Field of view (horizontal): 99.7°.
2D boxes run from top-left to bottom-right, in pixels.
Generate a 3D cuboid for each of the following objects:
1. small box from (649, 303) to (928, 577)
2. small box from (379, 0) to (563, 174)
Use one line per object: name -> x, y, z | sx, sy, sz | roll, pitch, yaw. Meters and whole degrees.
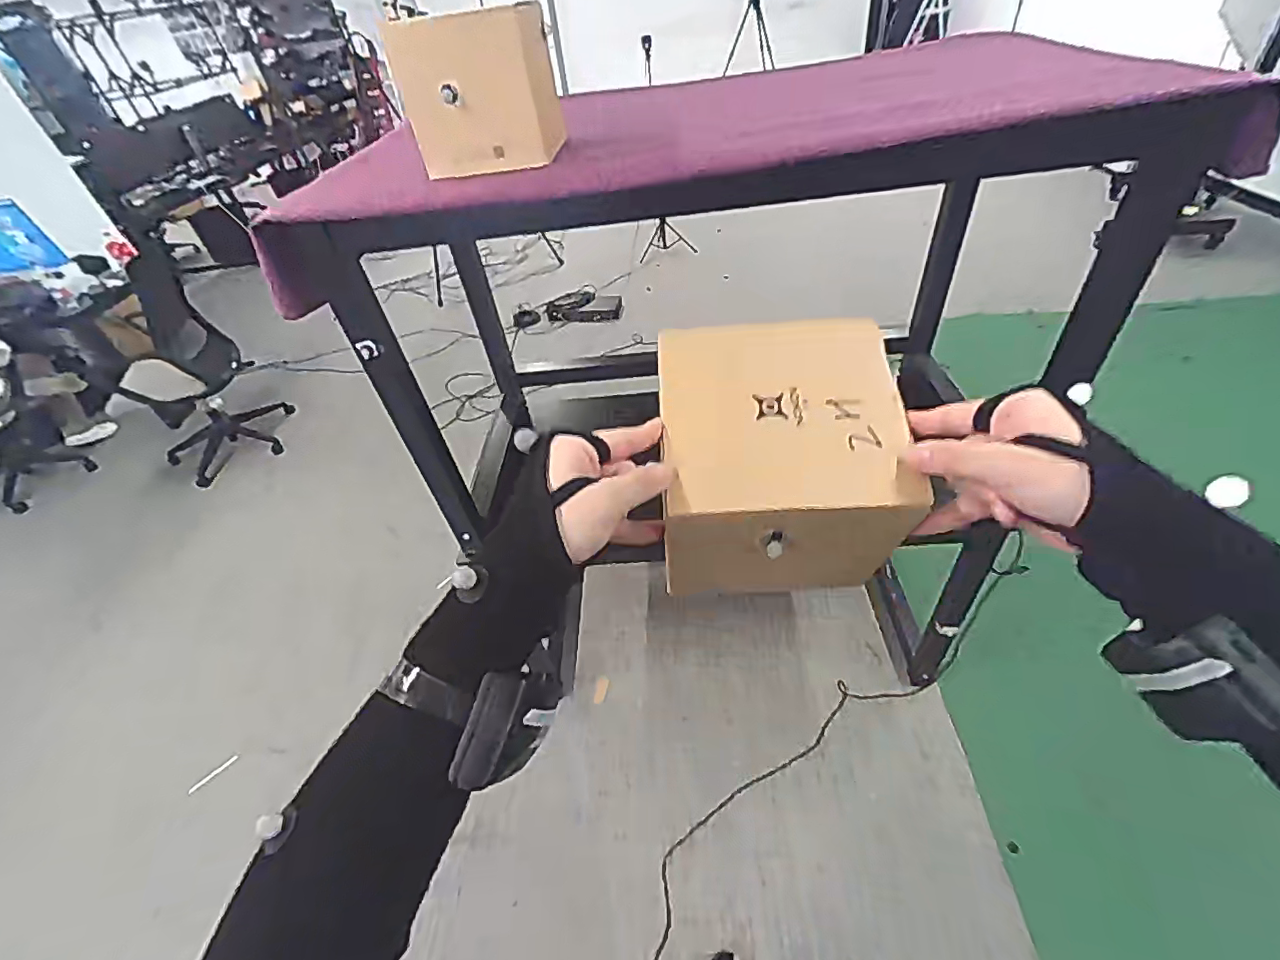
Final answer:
small box -> 0.100, -0.023, 0.451 | 0.179, 0.176, 0.168 | -2, 62, 2
small box -> -0.207, -0.525, 0.727 | 0.168, 0.176, 0.179 | -4, 42, 6
